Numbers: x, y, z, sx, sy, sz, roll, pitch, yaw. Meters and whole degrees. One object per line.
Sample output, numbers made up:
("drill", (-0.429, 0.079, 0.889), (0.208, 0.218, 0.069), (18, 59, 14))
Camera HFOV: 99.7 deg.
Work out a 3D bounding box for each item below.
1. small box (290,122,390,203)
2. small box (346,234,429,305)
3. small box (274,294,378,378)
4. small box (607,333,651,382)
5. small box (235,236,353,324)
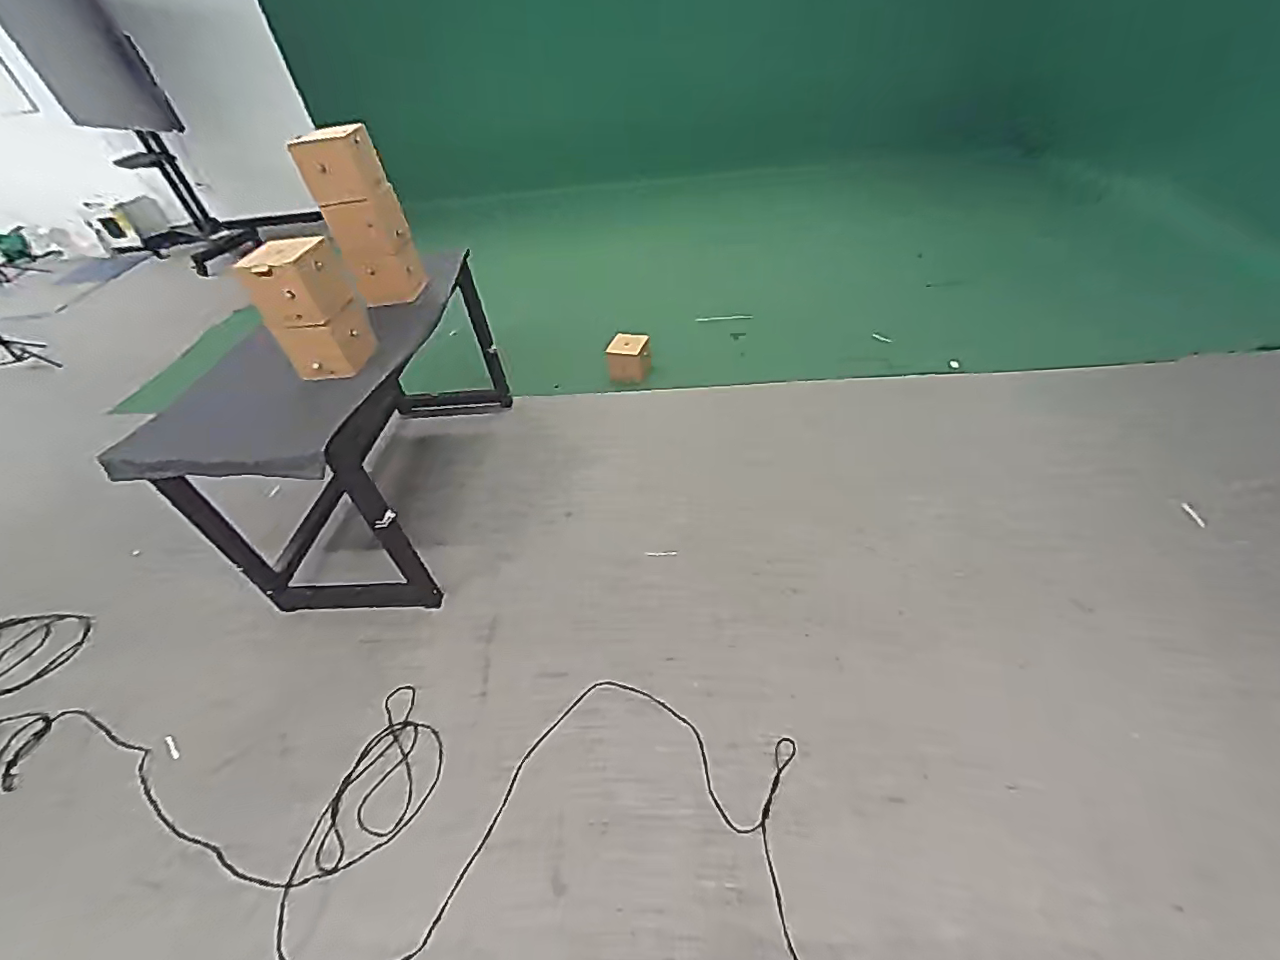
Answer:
("small box", (-0.893, -0.952, 1.626), (0.179, 0.176, 0.168), (-6, 45, 5))
("small box", (-0.855, -0.719, 1.855), (0.179, 0.176, 0.168), (-3, 44, 7))
("small box", (-0.879, -0.408, 1.538), (0.168, 0.176, 0.179), (-2, 45, 7))
("small box", (-0.049, -0.603, 2.668), (0.168, 0.176, 0.179), (11, 47, 17))
("small box", (-0.895, -0.521, 1.423), (0.168, 0.176, 0.179), (-1, 44, 7))
